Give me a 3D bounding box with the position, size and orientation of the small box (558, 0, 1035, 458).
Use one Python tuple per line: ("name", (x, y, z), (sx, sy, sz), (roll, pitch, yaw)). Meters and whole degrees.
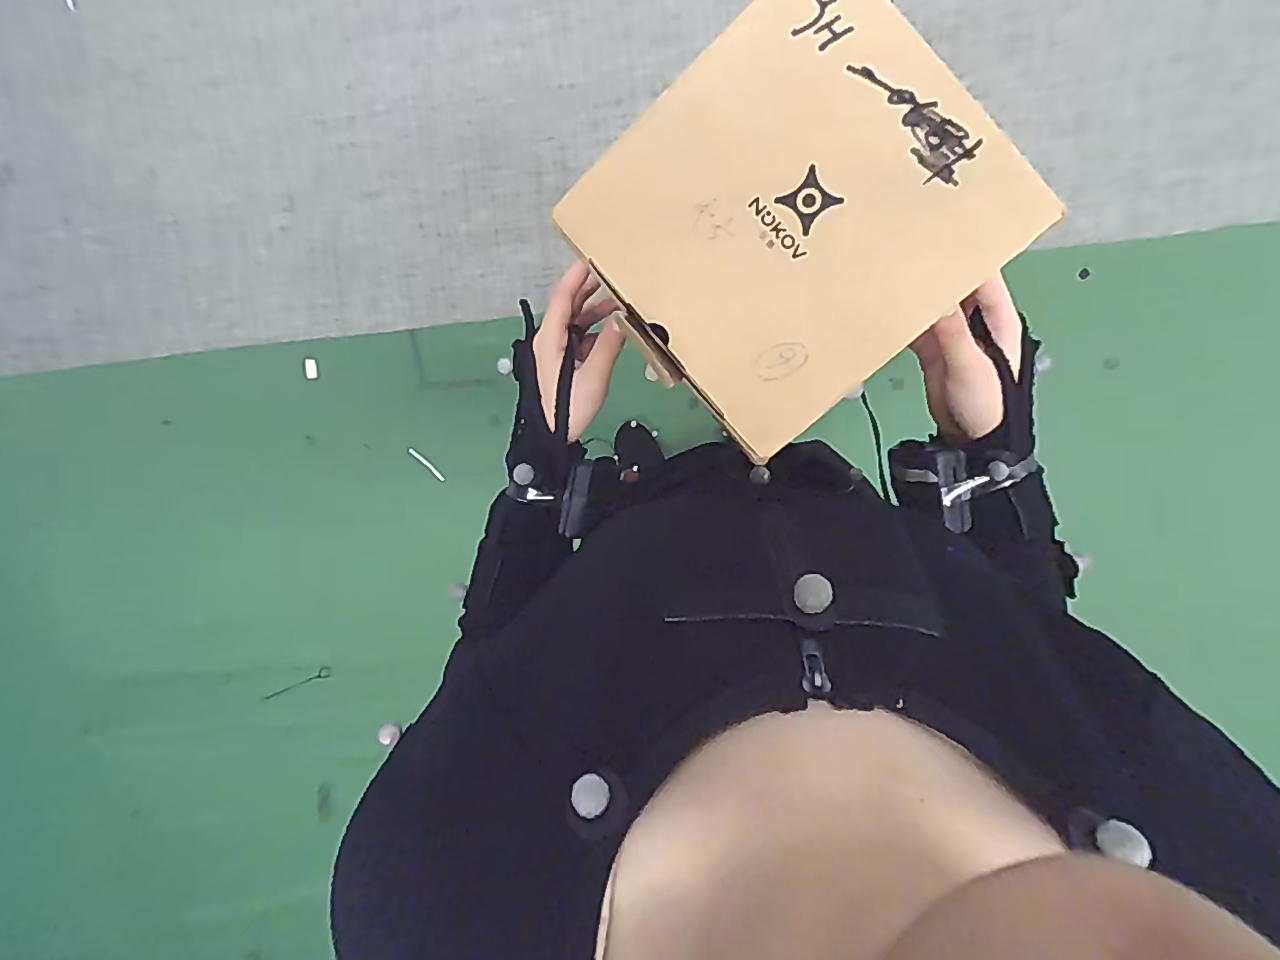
("small box", (0.082, -0.133, 0.346), (0.179, 0.176, 0.168), (-41, 90, 10))
